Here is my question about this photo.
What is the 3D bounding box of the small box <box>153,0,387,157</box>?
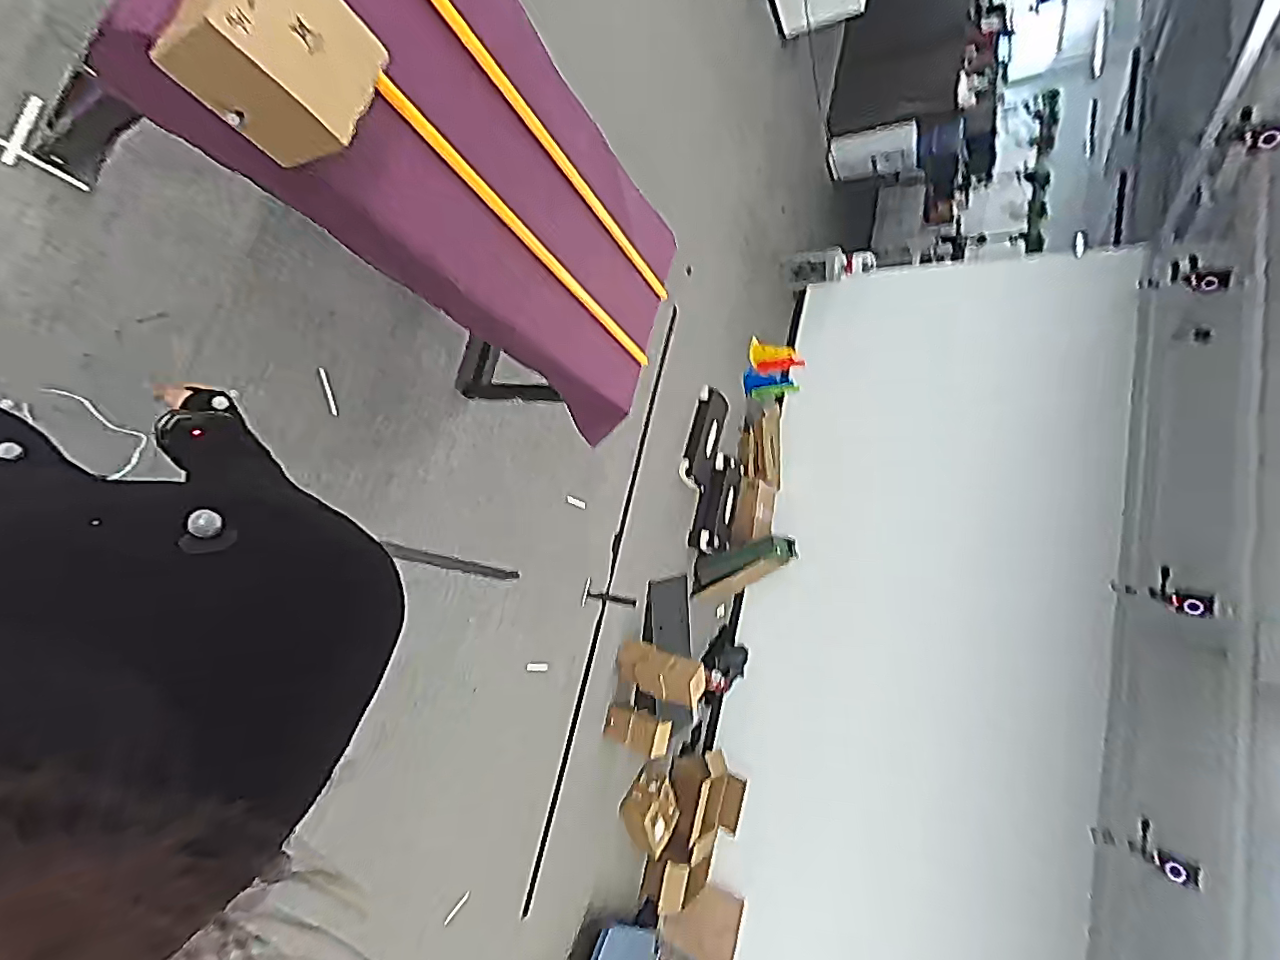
[{"bbox_3d":[-0.491,-0.570,0.728,0.179,0.176,0.168,35,67,-57],"label":"small box"}]
